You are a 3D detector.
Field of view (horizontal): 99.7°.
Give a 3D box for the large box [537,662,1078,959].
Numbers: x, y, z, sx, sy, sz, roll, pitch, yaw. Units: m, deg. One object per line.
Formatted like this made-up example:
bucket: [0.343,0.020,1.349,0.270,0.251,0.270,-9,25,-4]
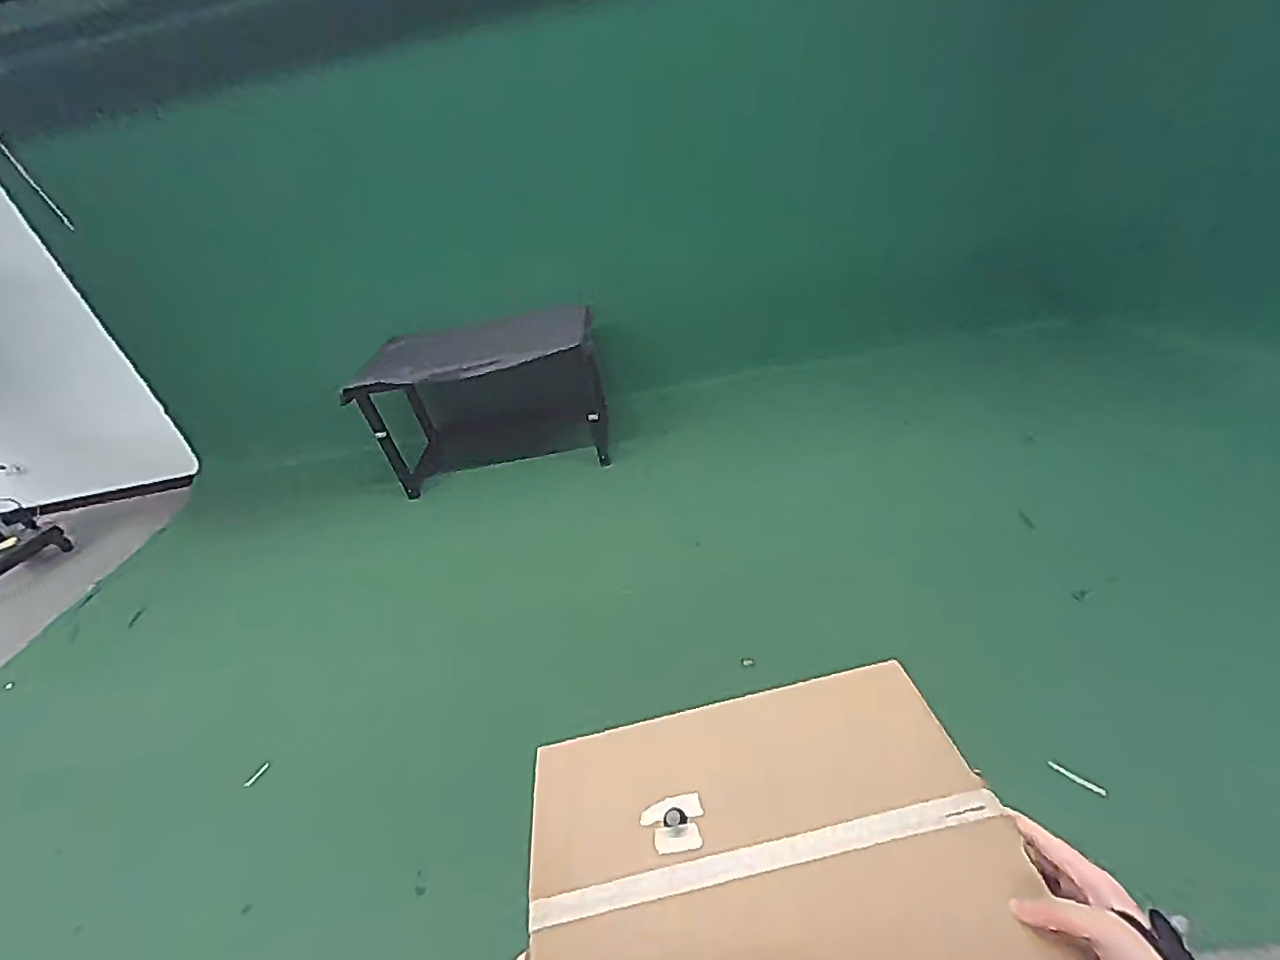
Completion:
large box: [0.138,0.453,0.551,0.408,0.320,0.320,-16,32,2]
